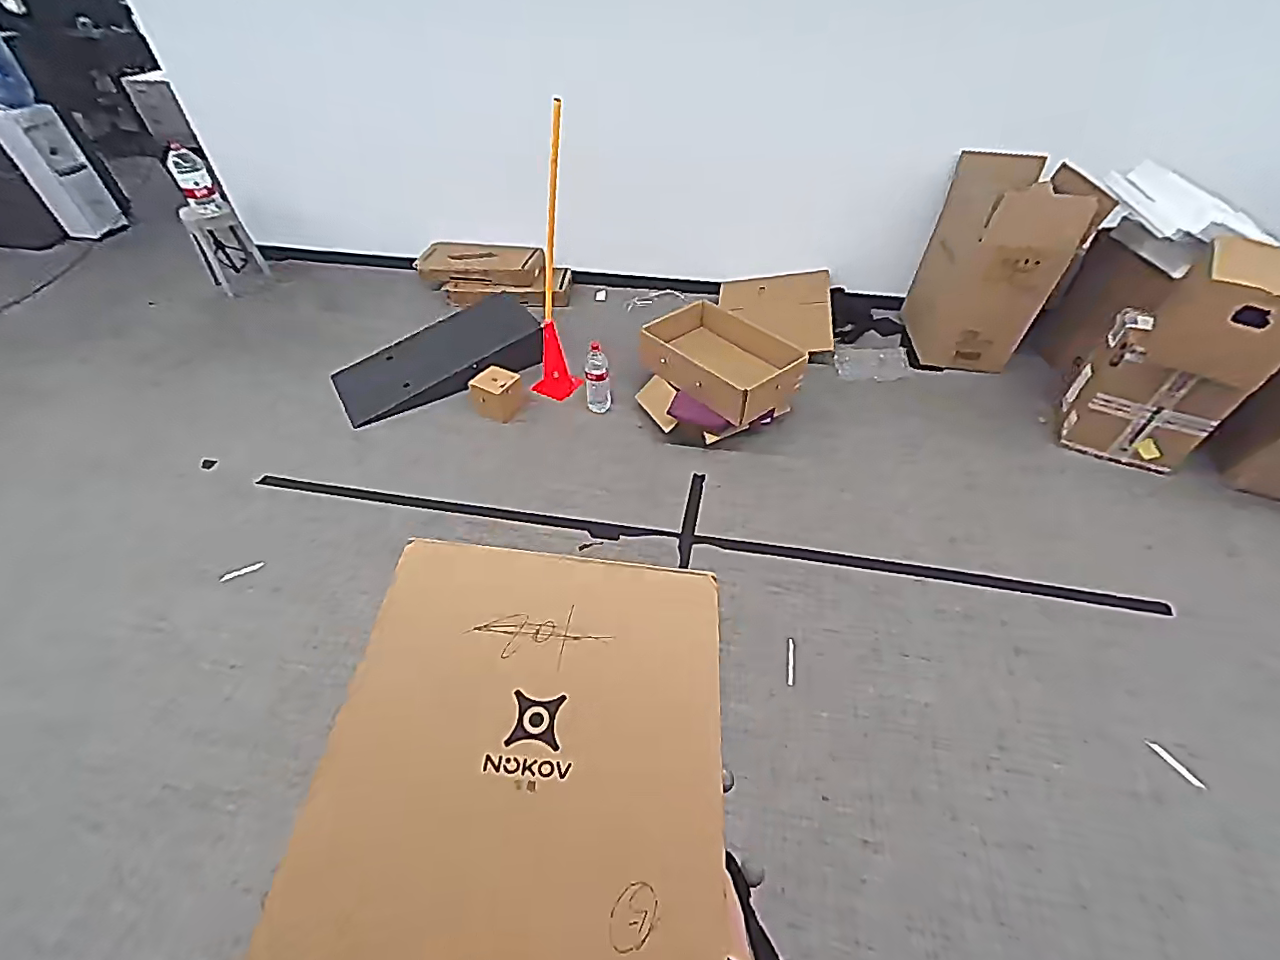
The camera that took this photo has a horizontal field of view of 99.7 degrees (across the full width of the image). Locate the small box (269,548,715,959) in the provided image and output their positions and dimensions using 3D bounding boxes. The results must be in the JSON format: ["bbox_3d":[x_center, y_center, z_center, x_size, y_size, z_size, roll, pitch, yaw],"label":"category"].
[{"bbox_3d":[-0.056,0.163,0.309,0.168,0.176,0.179,7,51,-4],"label":"small box"}]
